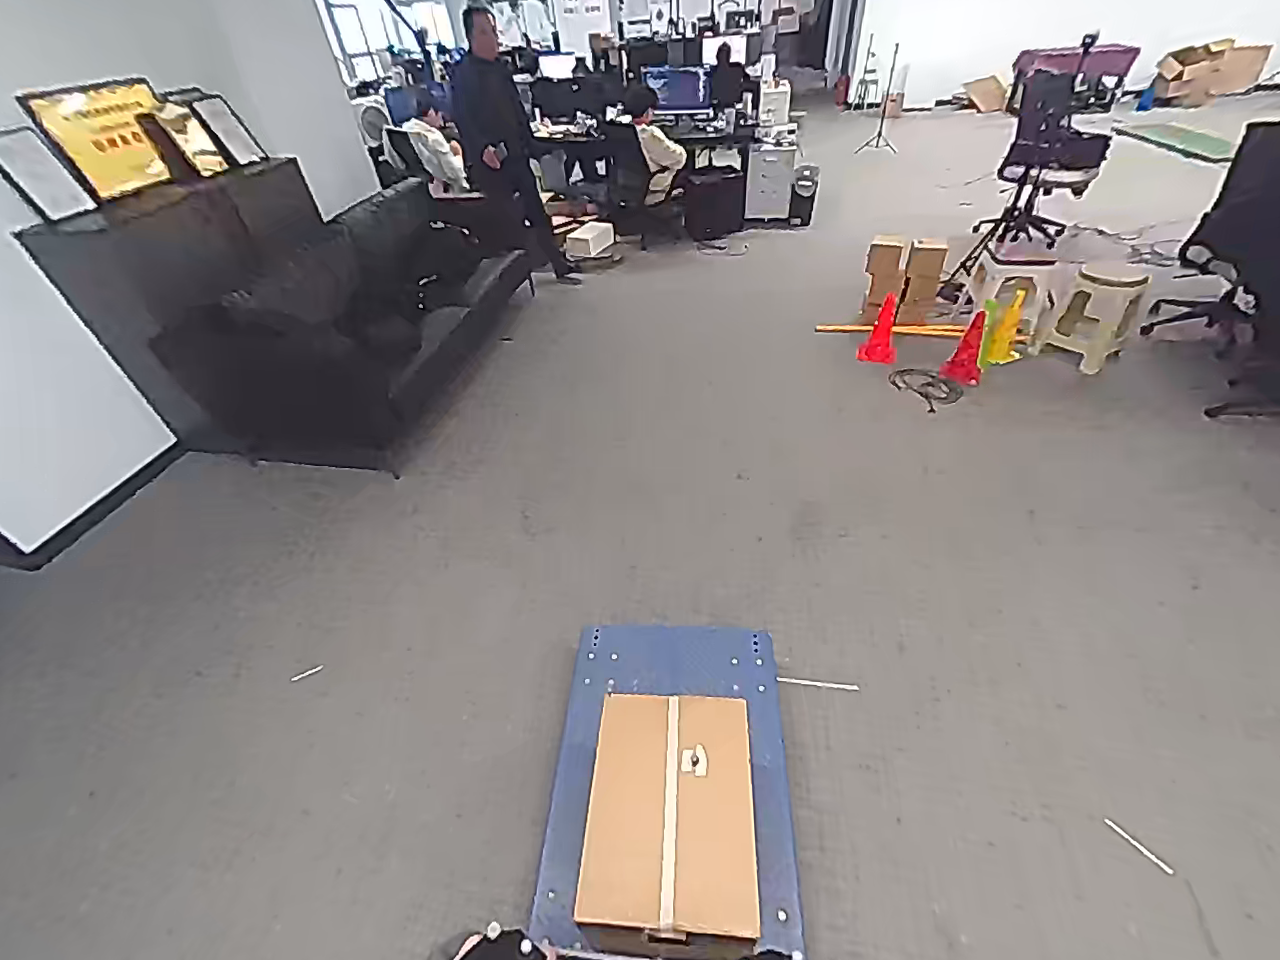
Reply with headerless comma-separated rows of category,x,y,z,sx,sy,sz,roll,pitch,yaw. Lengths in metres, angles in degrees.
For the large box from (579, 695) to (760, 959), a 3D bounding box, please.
large box,0.072,0.726,1.147,0.320,0.320,0.408,0,41,6
